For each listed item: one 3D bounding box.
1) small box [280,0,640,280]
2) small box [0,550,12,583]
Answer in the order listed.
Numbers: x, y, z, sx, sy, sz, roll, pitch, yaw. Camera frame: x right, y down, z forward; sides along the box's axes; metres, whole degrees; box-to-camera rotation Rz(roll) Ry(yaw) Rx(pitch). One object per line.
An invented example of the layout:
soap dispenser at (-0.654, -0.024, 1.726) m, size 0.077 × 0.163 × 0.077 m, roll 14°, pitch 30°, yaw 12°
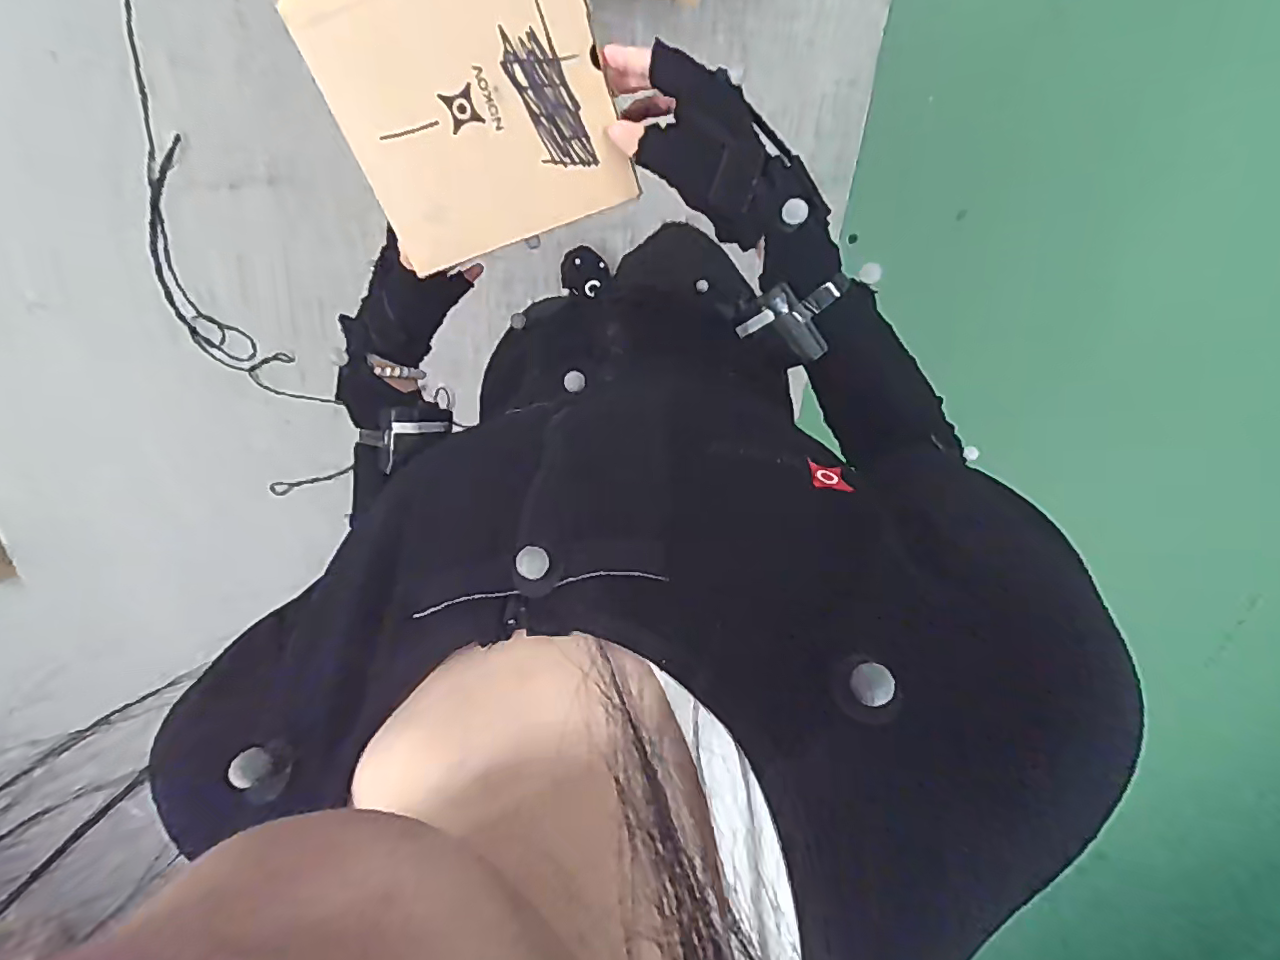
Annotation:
small box at (-0.109, -0.275, 0.411) m, size 0.179 × 0.176 × 0.168 m, roll -16°, pitch 121°, yaw 7°
small box at (-1.967, 0.254, 1.522) m, size 0.179 × 0.176 × 0.168 m, roll 2°, pitch 116°, yaw -3°
